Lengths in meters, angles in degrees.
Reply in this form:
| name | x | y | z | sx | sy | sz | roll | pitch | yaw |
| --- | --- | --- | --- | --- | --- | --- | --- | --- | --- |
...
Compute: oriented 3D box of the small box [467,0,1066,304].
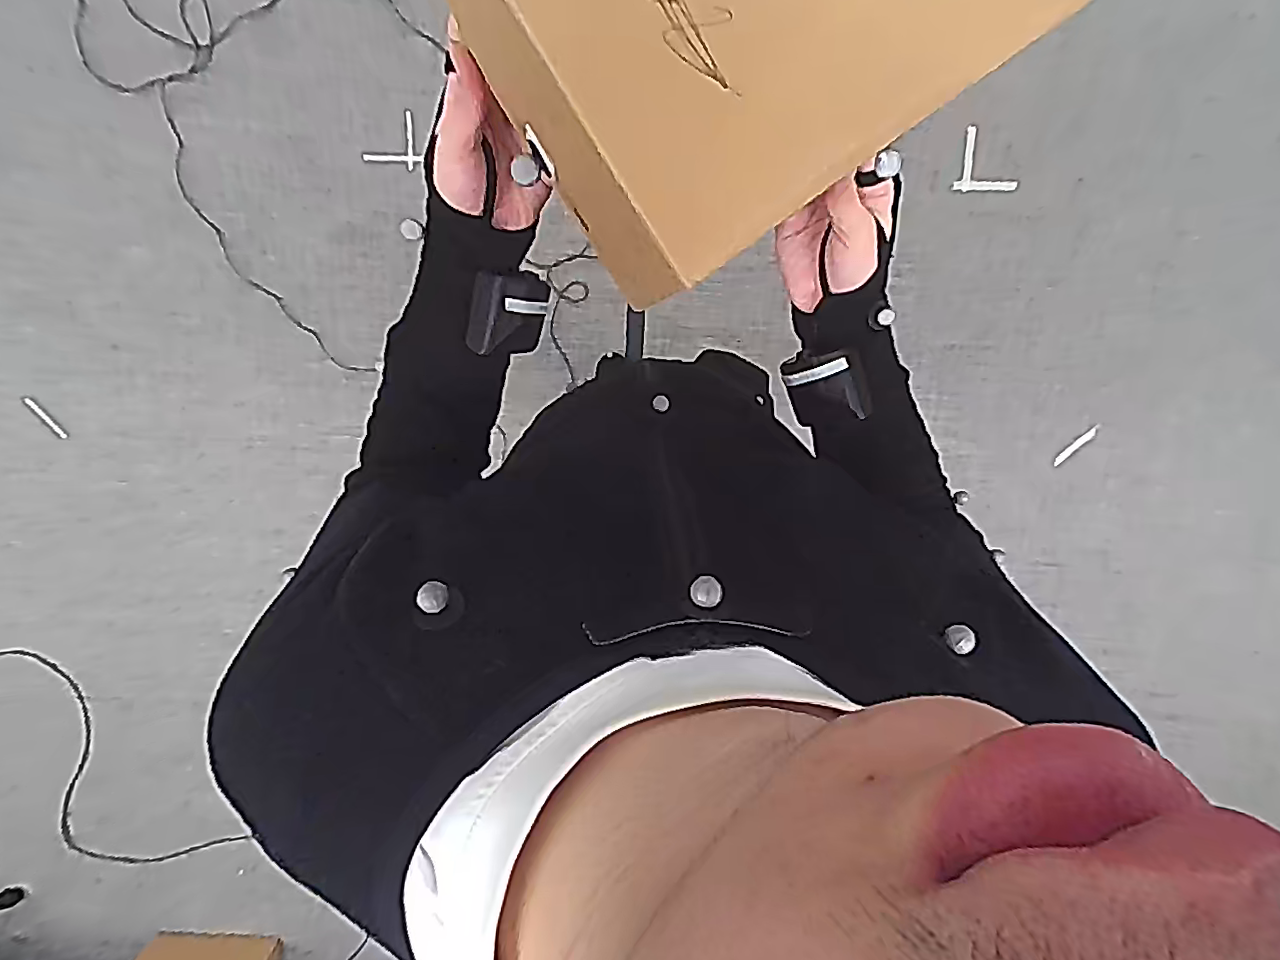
| name | x | y | z | sx | sy | sz | roll | pitch | yaw |
| --- | --- | --- | --- | --- | --- | --- | --- | --- | --- |
| small box | 0.031 | -0.204 | 0.255 | 0.179 | 0.176 | 0.168 | -36 | 105 | 4 |
